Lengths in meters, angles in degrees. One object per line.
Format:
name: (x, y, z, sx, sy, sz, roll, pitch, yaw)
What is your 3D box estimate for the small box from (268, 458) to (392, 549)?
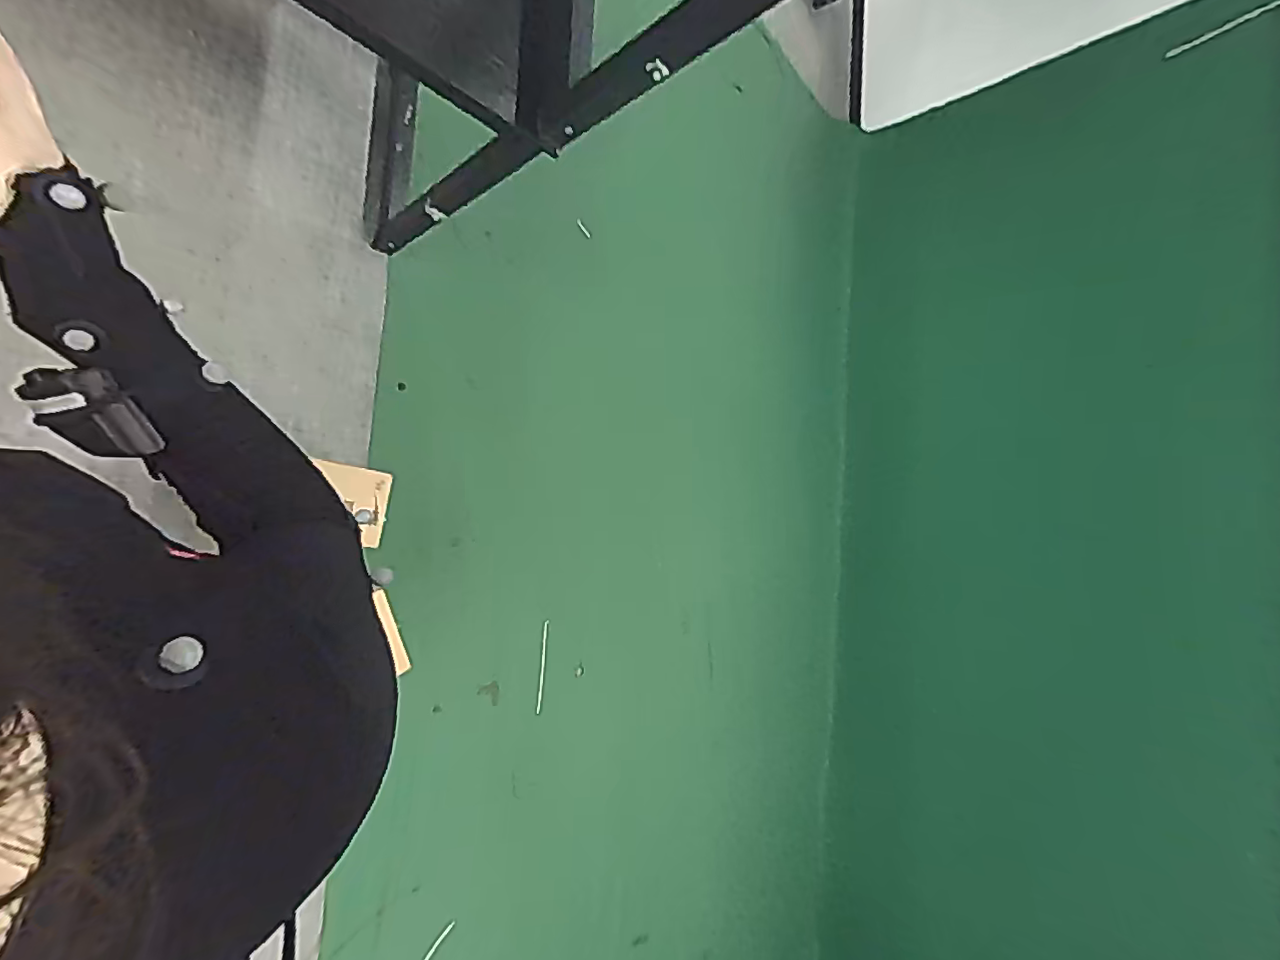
small box: (-0.672, 0.055, 1.169, 0.179, 0.176, 0.168, 18, 76, -46)
